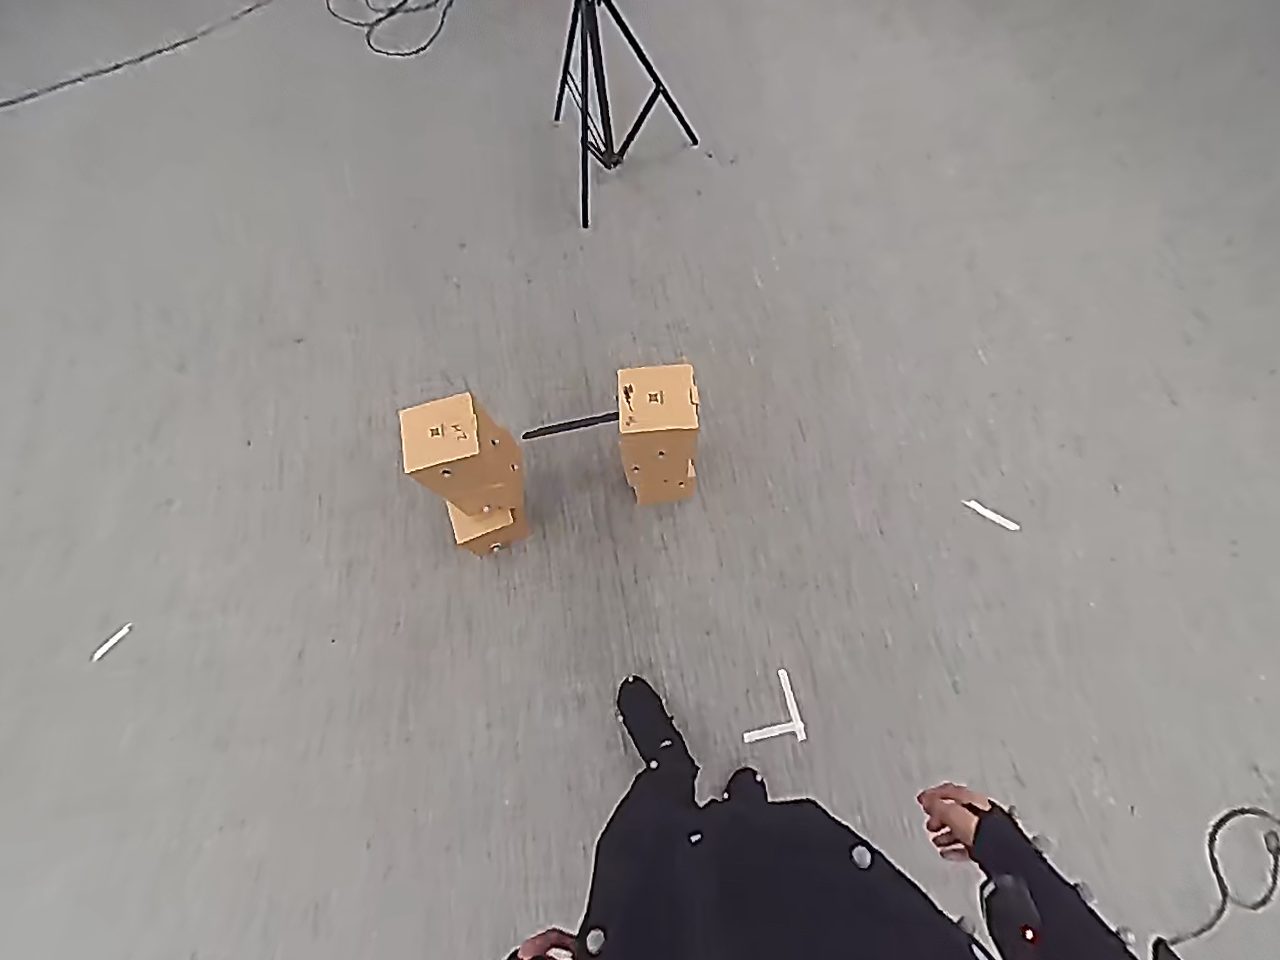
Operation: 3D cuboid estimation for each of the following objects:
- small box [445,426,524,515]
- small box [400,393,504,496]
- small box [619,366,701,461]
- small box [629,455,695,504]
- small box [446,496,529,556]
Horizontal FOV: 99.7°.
[{"bbox_3d":[-0.413,-0.021,1.439,0.168,0.176,0.179,-8,69,3],"label":"small box"},{"bbox_3d":[-0.443,-0.077,1.287,0.179,0.176,0.168,-15,68,0],"label":"small box"},{"bbox_3d":[0.044,-0.152,1.273,0.179,0.176,0.168,-3,68,2],"label":"small box"},{"bbox_3d":[0.061,-0.039,1.581,0.179,0.176,0.168,-11,69,0],"label":"small box"},{"bbox_3d":[-0.441,0.101,1.570,0.168,0.176,0.179,-22,69,-3],"label":"small box"}]
